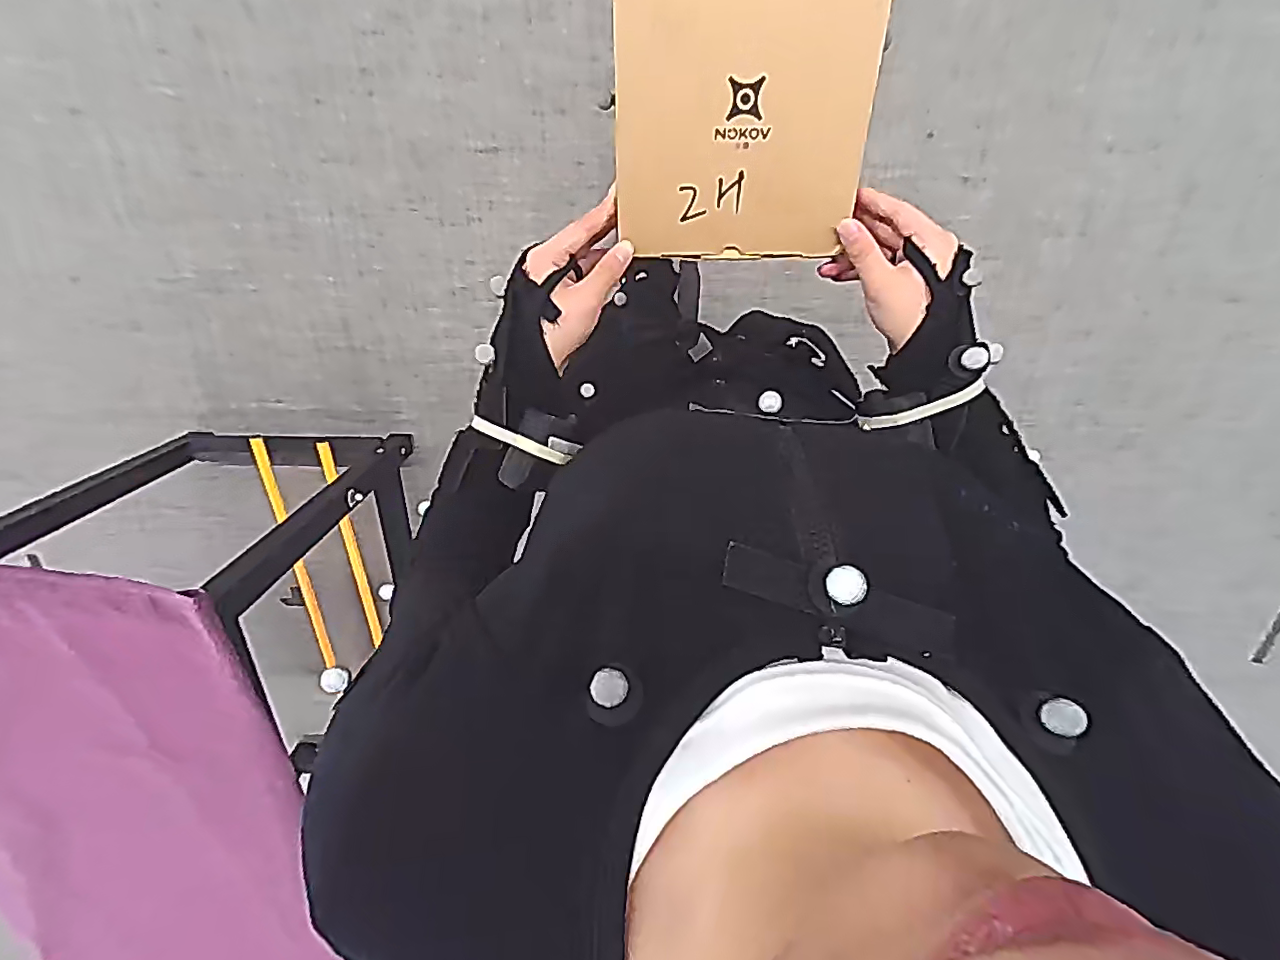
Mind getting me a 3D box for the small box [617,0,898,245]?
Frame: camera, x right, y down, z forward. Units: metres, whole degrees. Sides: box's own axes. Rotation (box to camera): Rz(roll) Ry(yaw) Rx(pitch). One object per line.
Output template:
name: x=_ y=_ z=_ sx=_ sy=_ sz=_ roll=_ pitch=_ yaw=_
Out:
small box: x=0.067 y=-0.282 z=0.403 sx=0.168 sy=0.176 sz=0.179 roll=1 pitch=122 yaw=1
